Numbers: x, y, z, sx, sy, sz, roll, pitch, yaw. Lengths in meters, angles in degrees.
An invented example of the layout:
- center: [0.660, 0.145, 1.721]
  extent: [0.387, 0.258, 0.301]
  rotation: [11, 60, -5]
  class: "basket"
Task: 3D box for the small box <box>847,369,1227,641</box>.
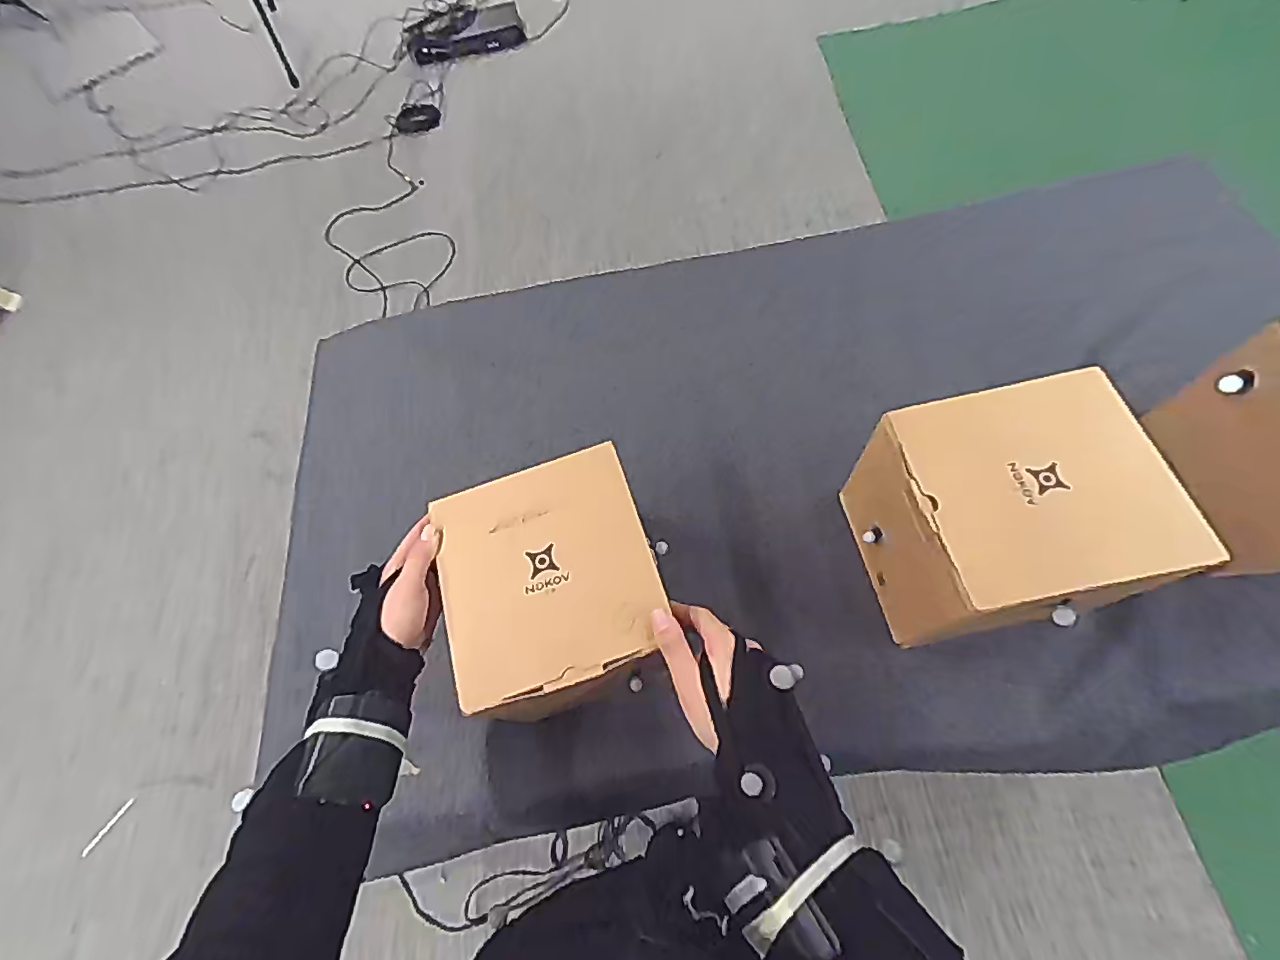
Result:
- center: [0.307, 0.033, 0.470]
  extent: [0.179, 0.176, 0.168]
  rotation: [-13, 64, 2]
  class: "small box"
